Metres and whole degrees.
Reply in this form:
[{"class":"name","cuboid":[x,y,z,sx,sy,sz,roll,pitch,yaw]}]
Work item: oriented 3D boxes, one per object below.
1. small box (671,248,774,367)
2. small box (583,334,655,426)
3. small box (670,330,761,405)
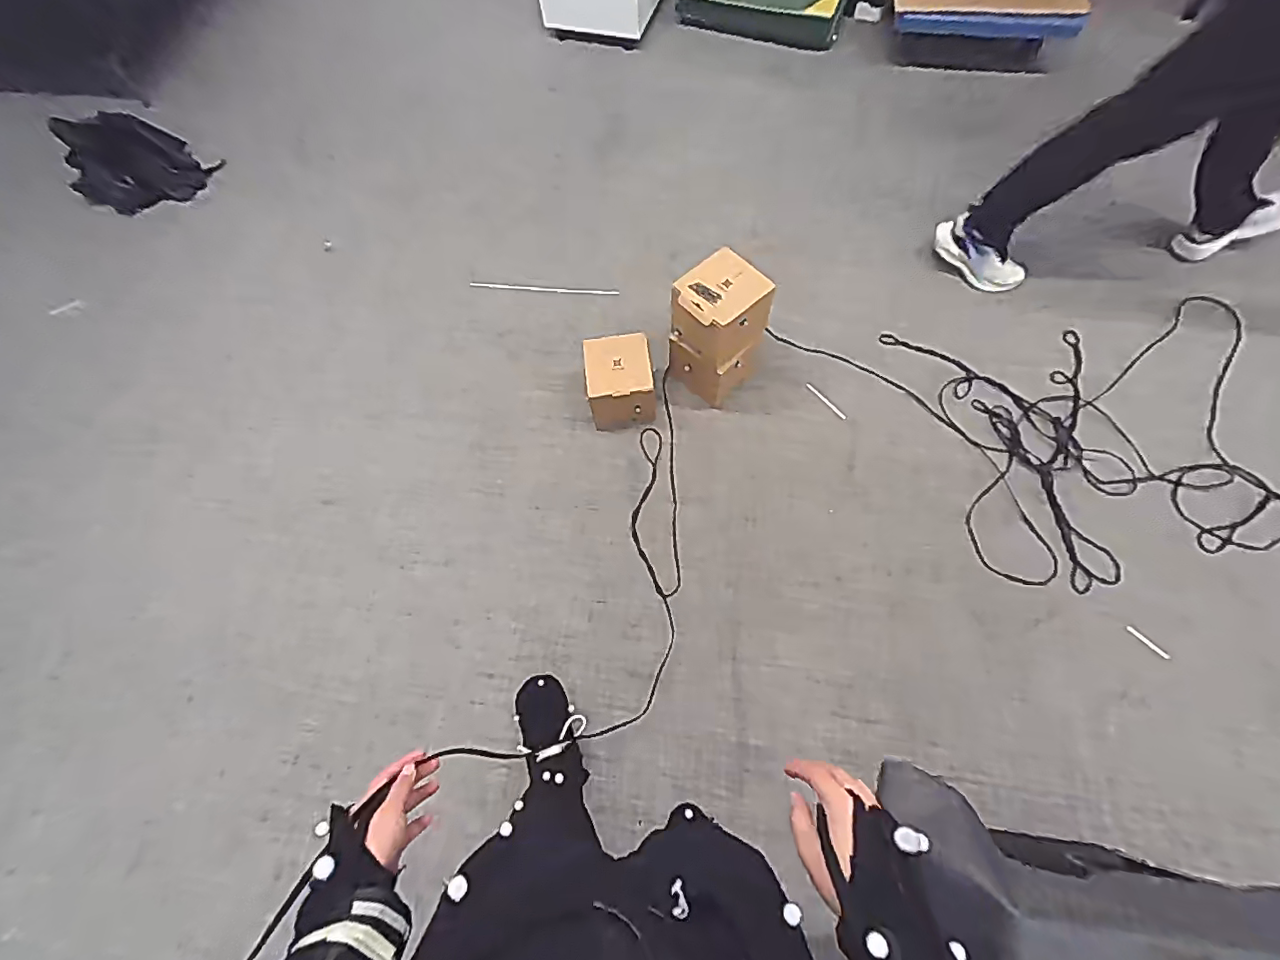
[{"class":"small box","cuboid":[0.191,-0.407,1.297,0.179,0.176,0.168,-40,72,-14]},{"class":"small box","cuboid":[-0.053,-0.256,1.430,0.168,0.176,0.179,-8,66,-1]},{"class":"small box","cuboid":[0.193,-0.333,1.445,0.179,0.176,0.168,41,74,17]}]
